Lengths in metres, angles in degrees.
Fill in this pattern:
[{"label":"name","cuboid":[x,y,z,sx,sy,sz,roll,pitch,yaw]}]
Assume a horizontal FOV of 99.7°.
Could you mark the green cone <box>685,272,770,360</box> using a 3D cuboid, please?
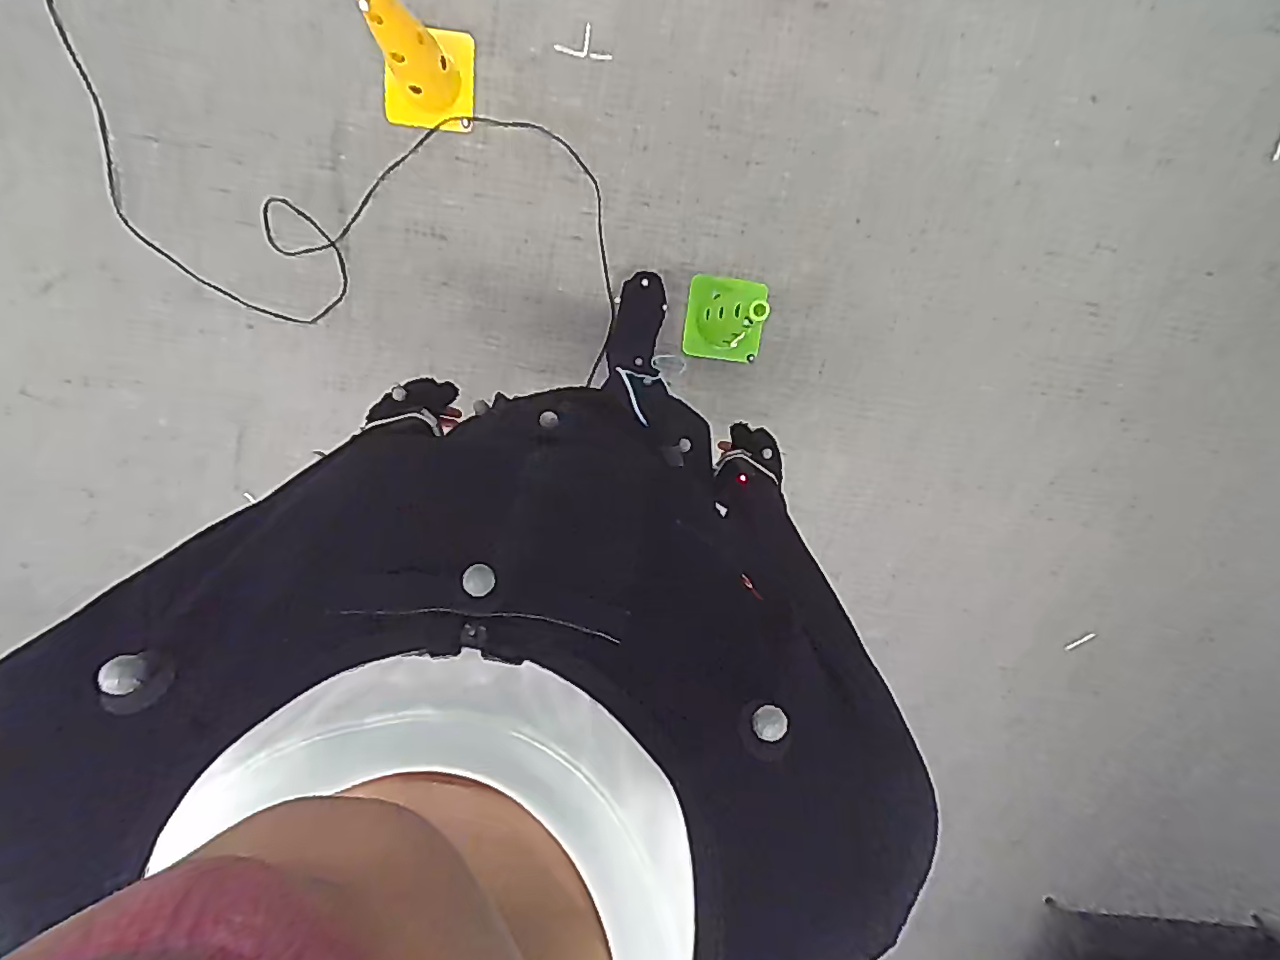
[{"label":"green cone","cuboid":[0.226,-0.379,1.217,0.202,0.368,0.200,7,103,-3]}]
